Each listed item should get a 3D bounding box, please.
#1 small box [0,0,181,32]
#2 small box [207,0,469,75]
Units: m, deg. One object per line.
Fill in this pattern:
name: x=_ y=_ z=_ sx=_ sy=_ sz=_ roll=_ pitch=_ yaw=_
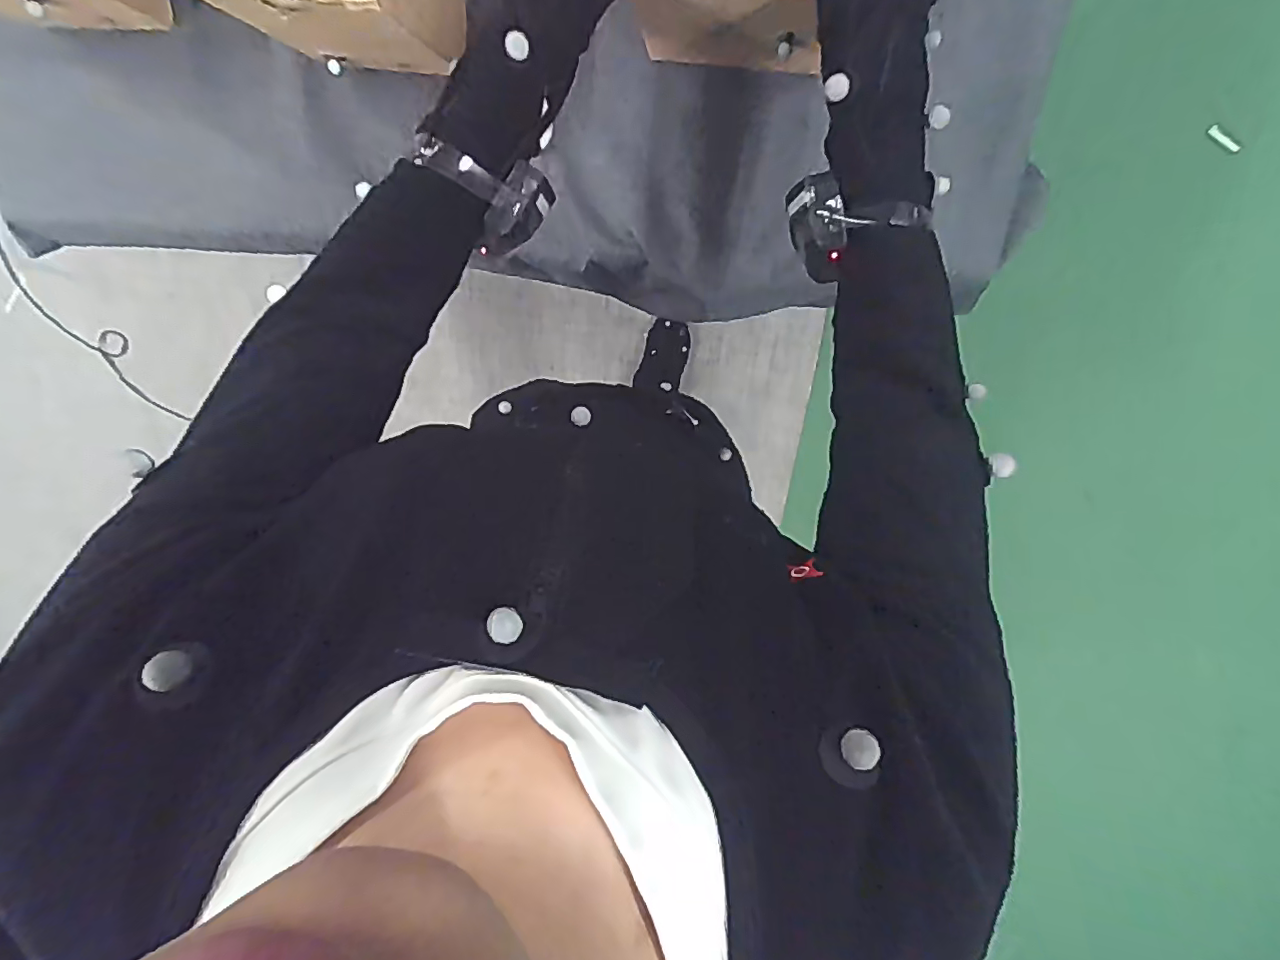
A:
small box: x=-0.590 y=-0.555 z=0.508 sx=0.168 sy=0.176 sz=0.179 roll=5 pitch=112 yaw=6
small box: x=-0.265 y=-0.495 z=0.485 sx=0.168 sy=0.176 sz=0.179 roll=8 pitch=111 yaw=5
